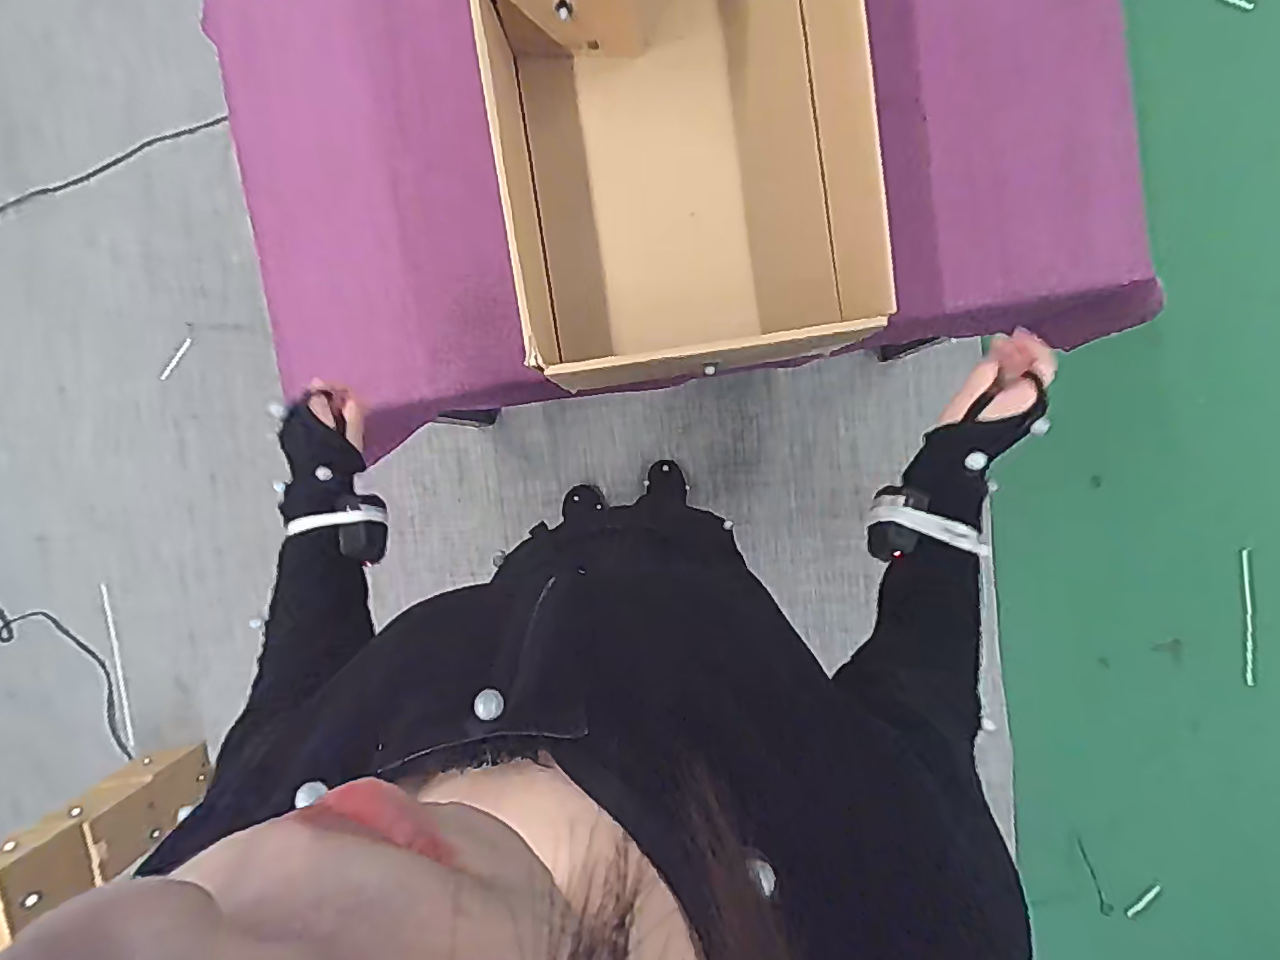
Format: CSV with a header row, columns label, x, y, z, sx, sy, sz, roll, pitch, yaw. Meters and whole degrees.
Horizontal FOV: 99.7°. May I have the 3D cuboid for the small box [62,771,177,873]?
label,x,y,z,sx,sy,sz,roll,pitch,yaw
small box,-1.343,0.876,1.390,0.179,0.176,0.168,-9,93,5

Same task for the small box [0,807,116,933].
label,x,y,z,sx,sy,sz,roll,pitch,yaw
small box,-1.361,0.875,1.227,0.168,0.176,0.179,-9,94,4
